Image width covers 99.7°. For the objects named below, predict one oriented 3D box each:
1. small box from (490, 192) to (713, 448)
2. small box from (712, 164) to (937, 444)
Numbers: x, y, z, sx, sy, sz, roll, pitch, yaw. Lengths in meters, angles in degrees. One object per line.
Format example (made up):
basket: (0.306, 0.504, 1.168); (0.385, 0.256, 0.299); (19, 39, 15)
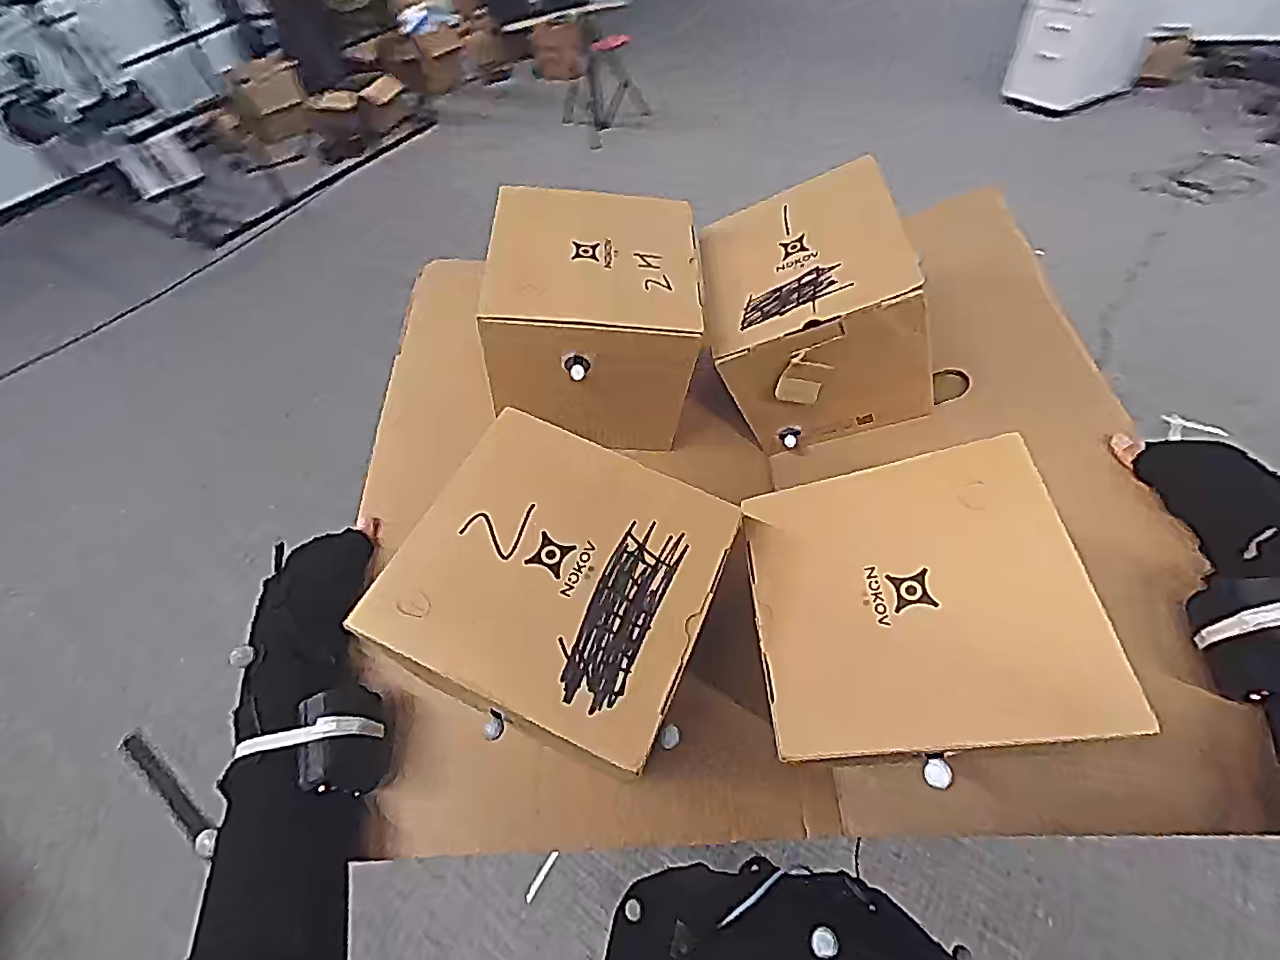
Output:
small box: (-0.035, -0.145, 0.525); (0.179, 0.176, 0.168); (4, 61, -5)
small box: (0.179, -0.152, 0.528); (0.168, 0.176, 0.179); (-14, 56, 24)
